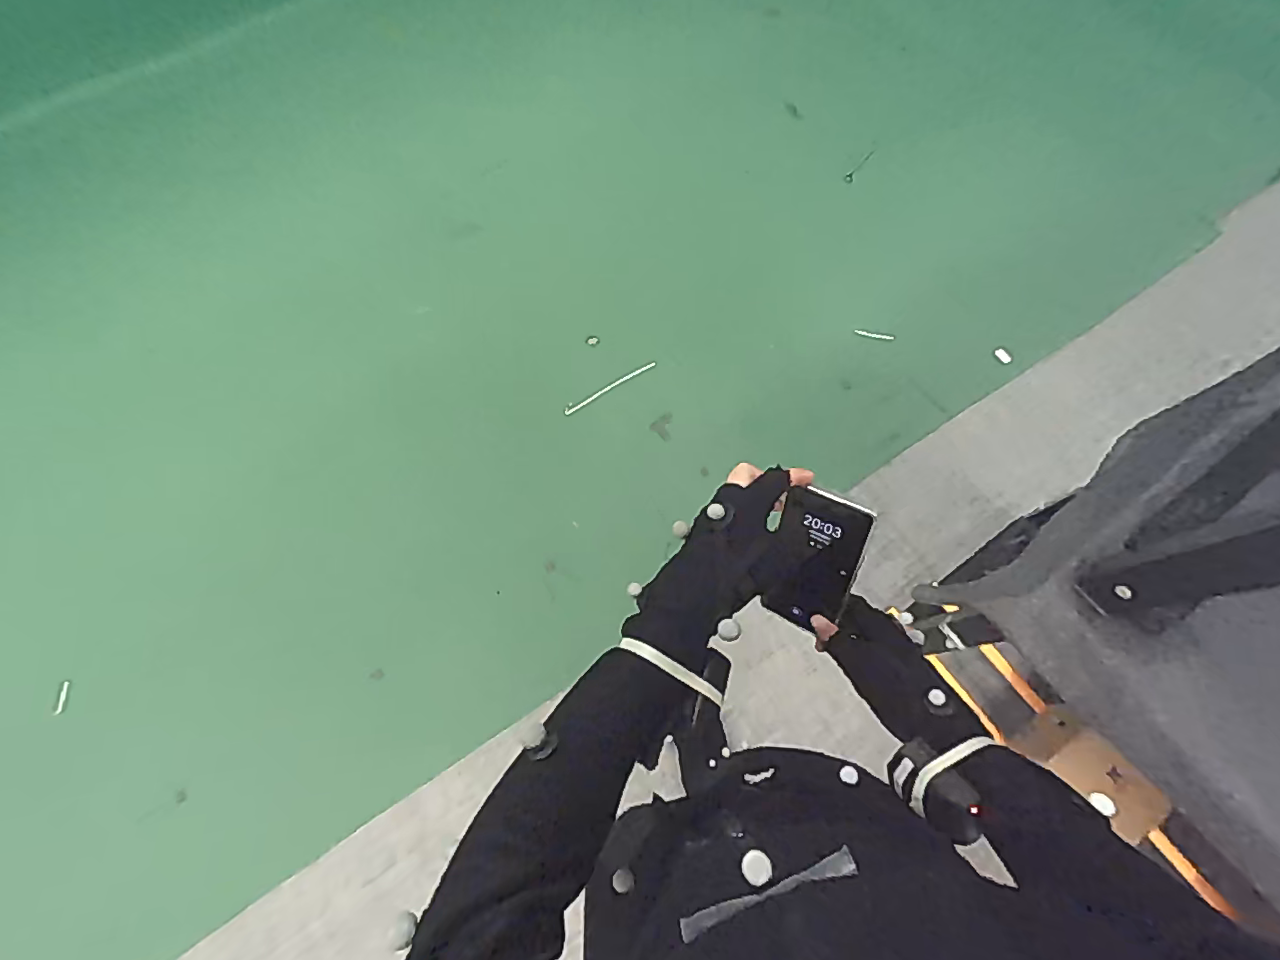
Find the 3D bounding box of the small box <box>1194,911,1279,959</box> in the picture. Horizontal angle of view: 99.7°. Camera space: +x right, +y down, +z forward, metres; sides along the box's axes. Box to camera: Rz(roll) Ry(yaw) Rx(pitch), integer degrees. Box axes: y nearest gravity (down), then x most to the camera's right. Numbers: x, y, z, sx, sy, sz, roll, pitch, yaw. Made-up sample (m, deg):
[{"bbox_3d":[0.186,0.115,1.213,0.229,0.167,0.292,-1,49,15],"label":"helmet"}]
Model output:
[{"bbox_3d":[1.106,0.880,0.902,0.179,0.176,0.168,-30,70,-9],"label":"small box"}]
